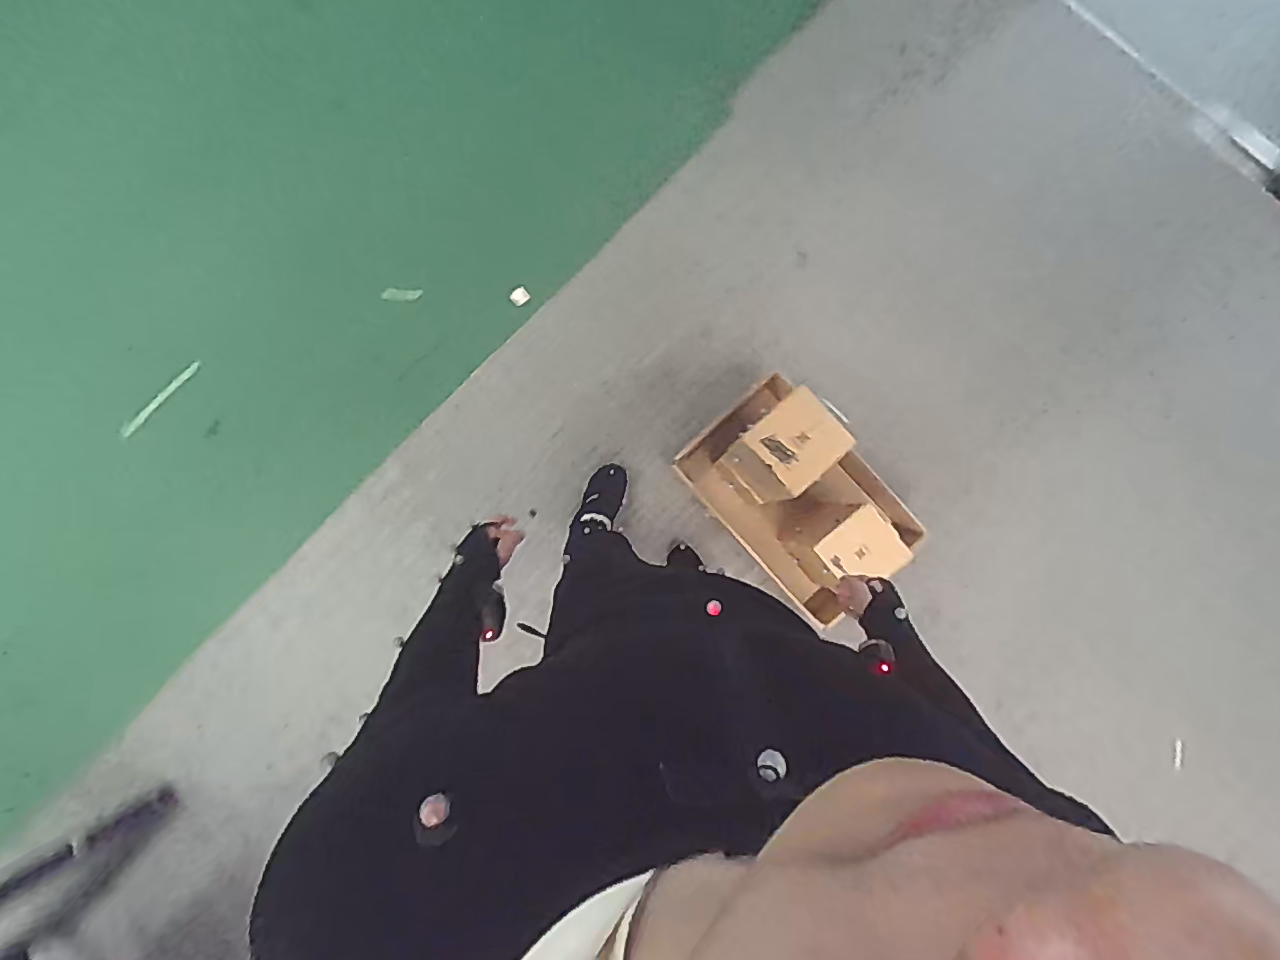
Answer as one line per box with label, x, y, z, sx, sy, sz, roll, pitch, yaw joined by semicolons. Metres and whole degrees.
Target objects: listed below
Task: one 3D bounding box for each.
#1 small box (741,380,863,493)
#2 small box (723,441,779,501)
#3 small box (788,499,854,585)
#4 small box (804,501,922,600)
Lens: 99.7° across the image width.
small box;0.338;-0.084;1.175;0.179;0.176;0.168;-41;87;-3
small box;0.350;-0.057;1.502;0.179;0.176;0.168;-40;87;-2
small box;0.535;0.167;1.485;0.179;0.176;0.168;-40;86;-1
small box;0.534;0.165;1.321;0.179;0.176;0.168;-38;86;-1
